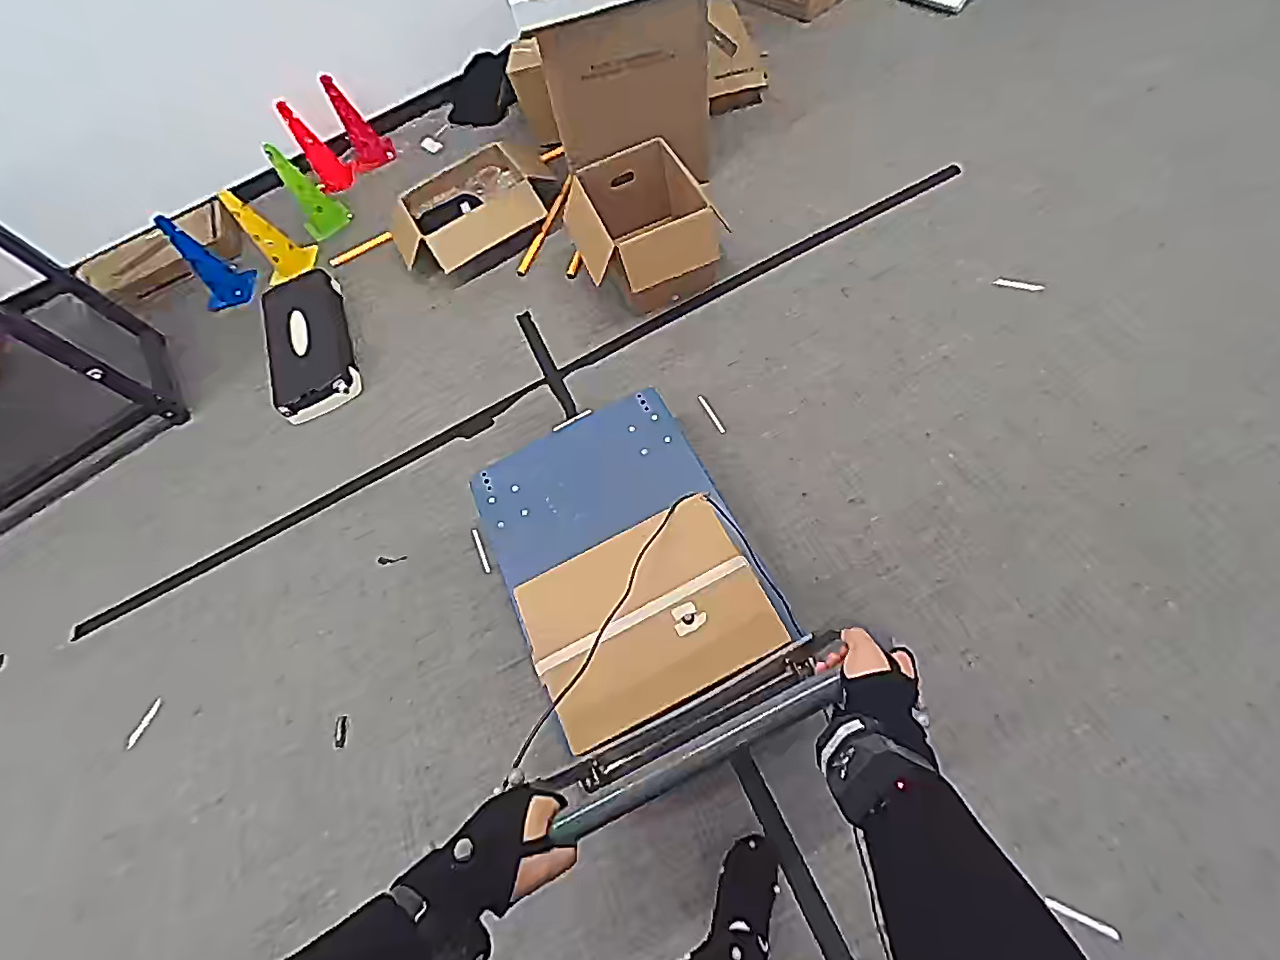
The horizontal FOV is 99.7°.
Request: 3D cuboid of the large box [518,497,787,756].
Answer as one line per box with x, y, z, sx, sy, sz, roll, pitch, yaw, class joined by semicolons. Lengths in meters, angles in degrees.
0.033;0.306;1.088;0.408;0.320;0.320;-28;63;-4;large box
